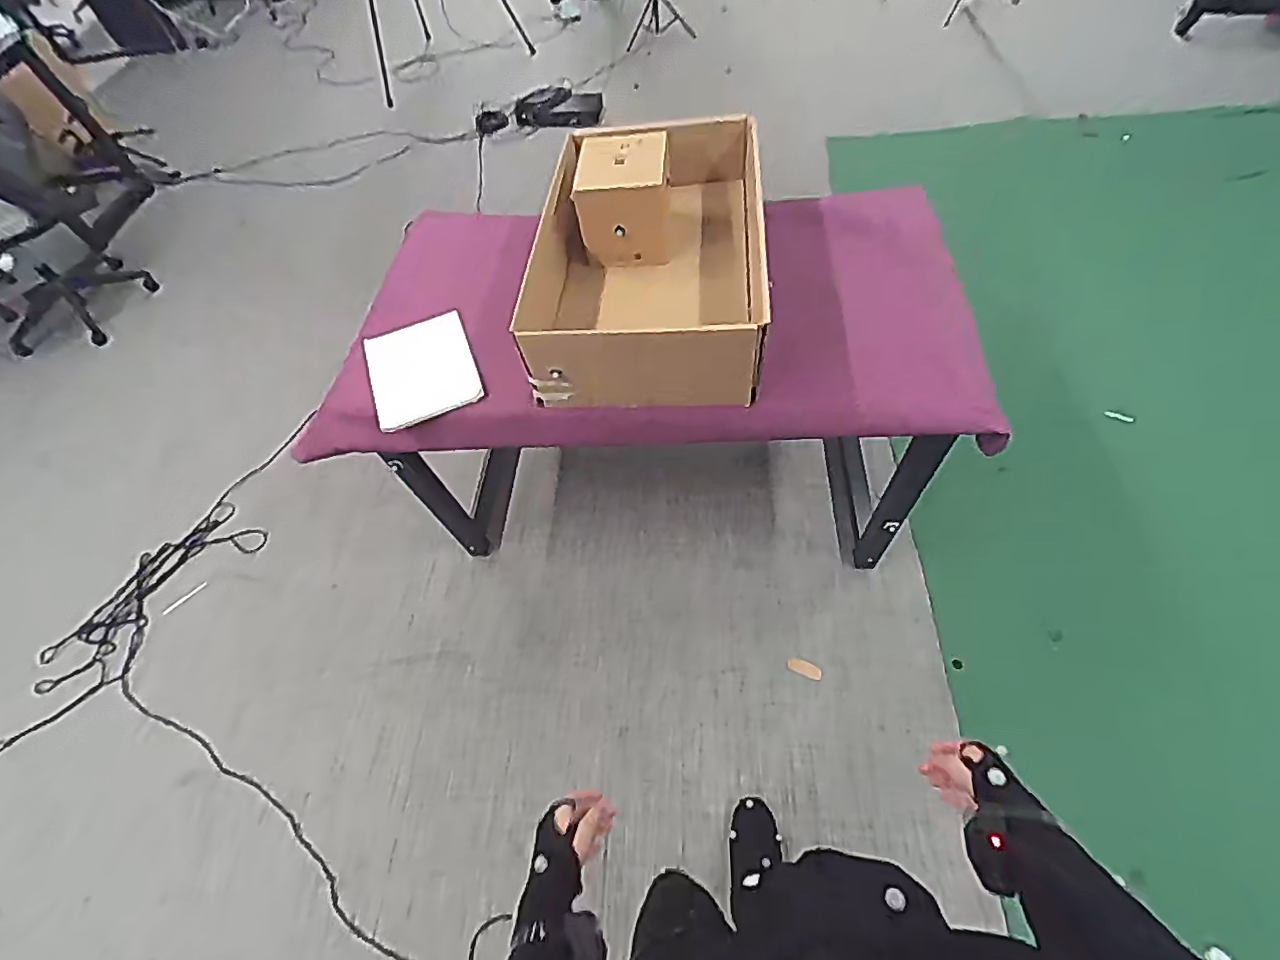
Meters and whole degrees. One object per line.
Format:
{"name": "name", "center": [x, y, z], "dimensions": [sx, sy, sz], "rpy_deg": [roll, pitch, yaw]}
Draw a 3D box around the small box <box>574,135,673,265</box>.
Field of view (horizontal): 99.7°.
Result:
{"name": "small box", "center": [-0.023, -0.548, 1.077], "dimensions": [0.168, 0.176, 0.179], "rpy_deg": [1, 59, 8]}
